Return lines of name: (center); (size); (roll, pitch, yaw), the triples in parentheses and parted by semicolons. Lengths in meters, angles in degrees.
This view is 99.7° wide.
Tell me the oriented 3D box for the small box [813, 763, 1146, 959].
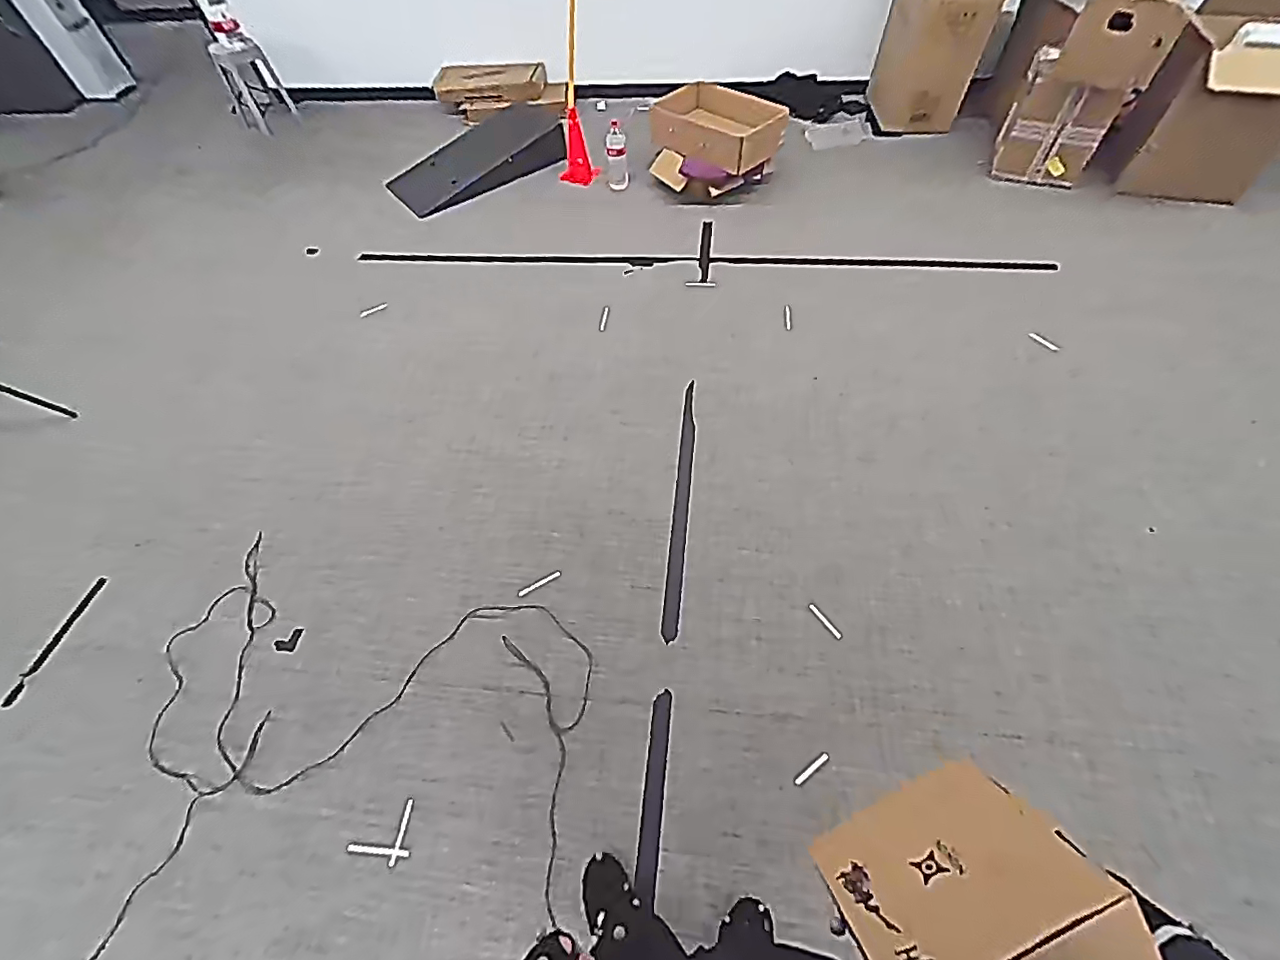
small box: (0.283, 0.389, 0.451); (0.179, 0.168, 0.176); (-26, 94, -3)
